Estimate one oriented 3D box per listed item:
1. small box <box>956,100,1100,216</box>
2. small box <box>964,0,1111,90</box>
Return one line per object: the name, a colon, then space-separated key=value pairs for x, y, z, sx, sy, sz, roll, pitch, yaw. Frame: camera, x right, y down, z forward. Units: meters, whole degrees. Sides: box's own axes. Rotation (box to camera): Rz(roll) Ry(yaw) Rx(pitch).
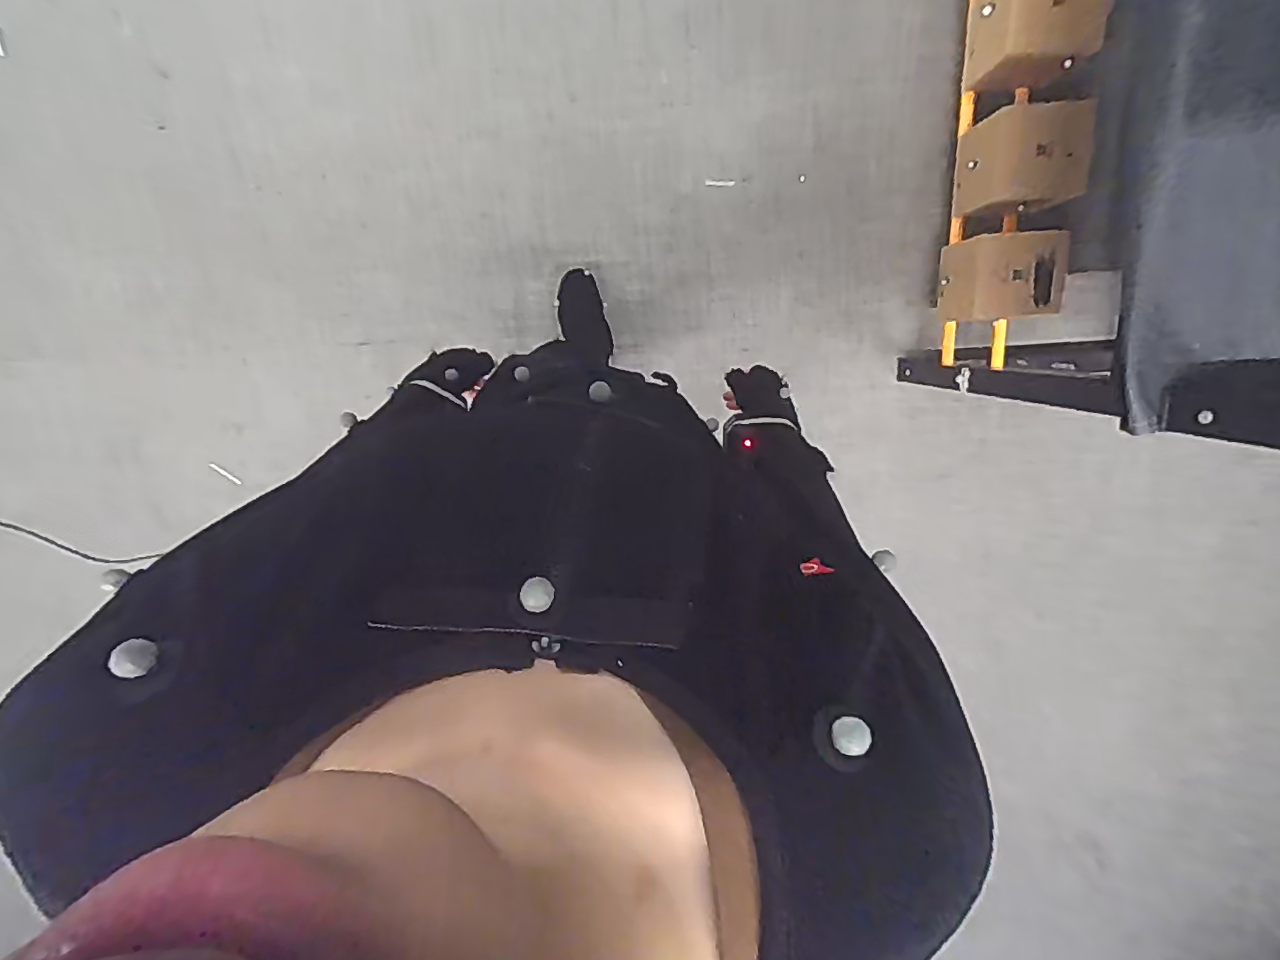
small box: x=0.784 y=-0.652 z=1.114 sx=0.179 sy=0.176 sz=0.168 roll=-3 pitch=106 yaw=3
small box: x=0.766 y=-0.890 z=1.054 sx=0.179 sy=0.176 sz=0.168 roll=-1 pitch=105 yaw=3
